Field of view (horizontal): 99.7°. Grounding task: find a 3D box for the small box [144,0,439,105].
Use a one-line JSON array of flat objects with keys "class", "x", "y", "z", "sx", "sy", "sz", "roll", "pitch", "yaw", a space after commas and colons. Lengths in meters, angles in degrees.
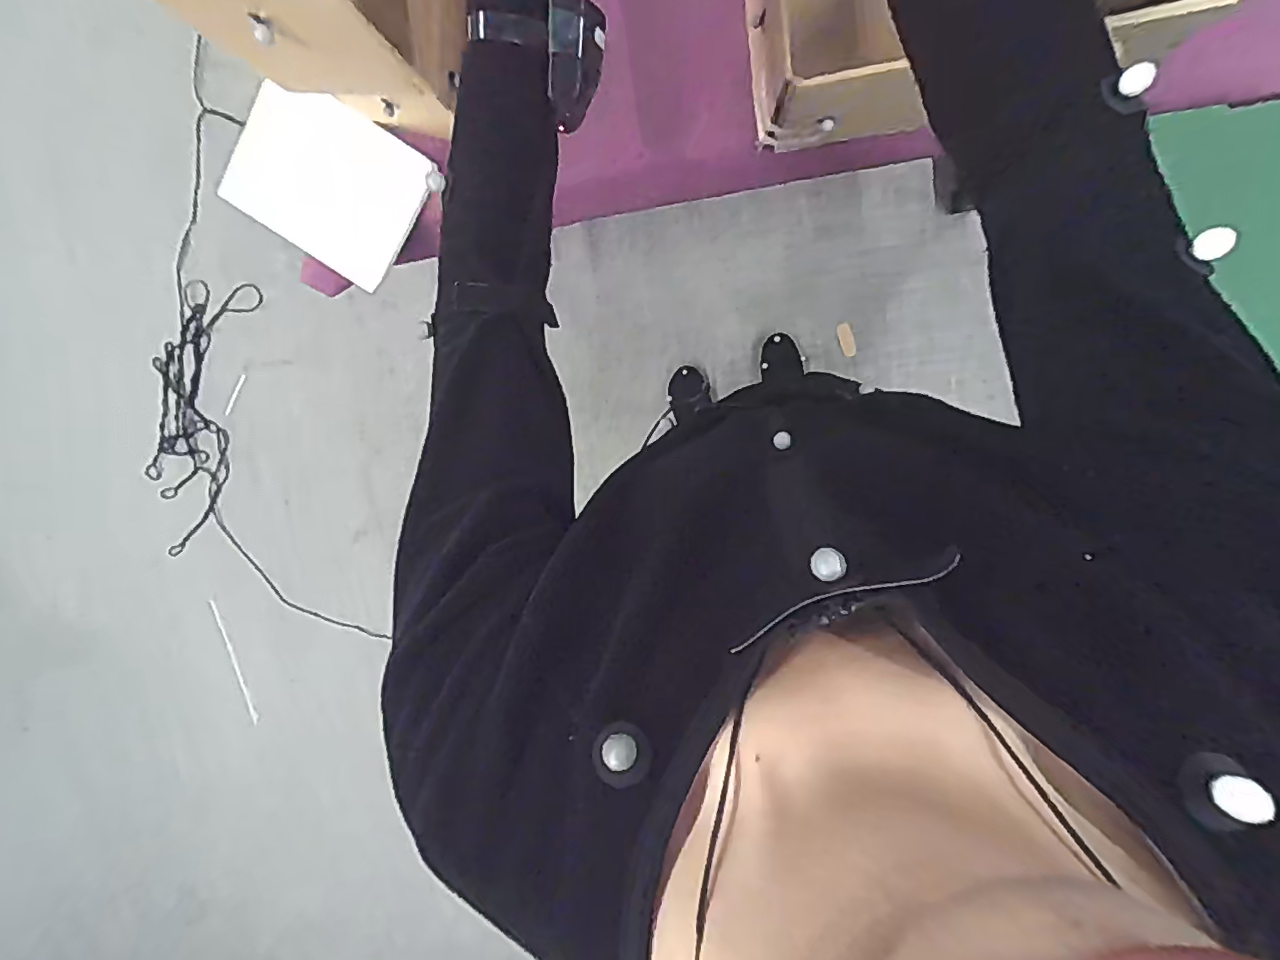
[{"class": "small box", "x": -0.293, "y": -0.464, "z": 0.481, "sx": 0.179, "sy": 0.176, "sz": 0.168, "roll": 6, "pitch": 102, "yaw": 6}]
